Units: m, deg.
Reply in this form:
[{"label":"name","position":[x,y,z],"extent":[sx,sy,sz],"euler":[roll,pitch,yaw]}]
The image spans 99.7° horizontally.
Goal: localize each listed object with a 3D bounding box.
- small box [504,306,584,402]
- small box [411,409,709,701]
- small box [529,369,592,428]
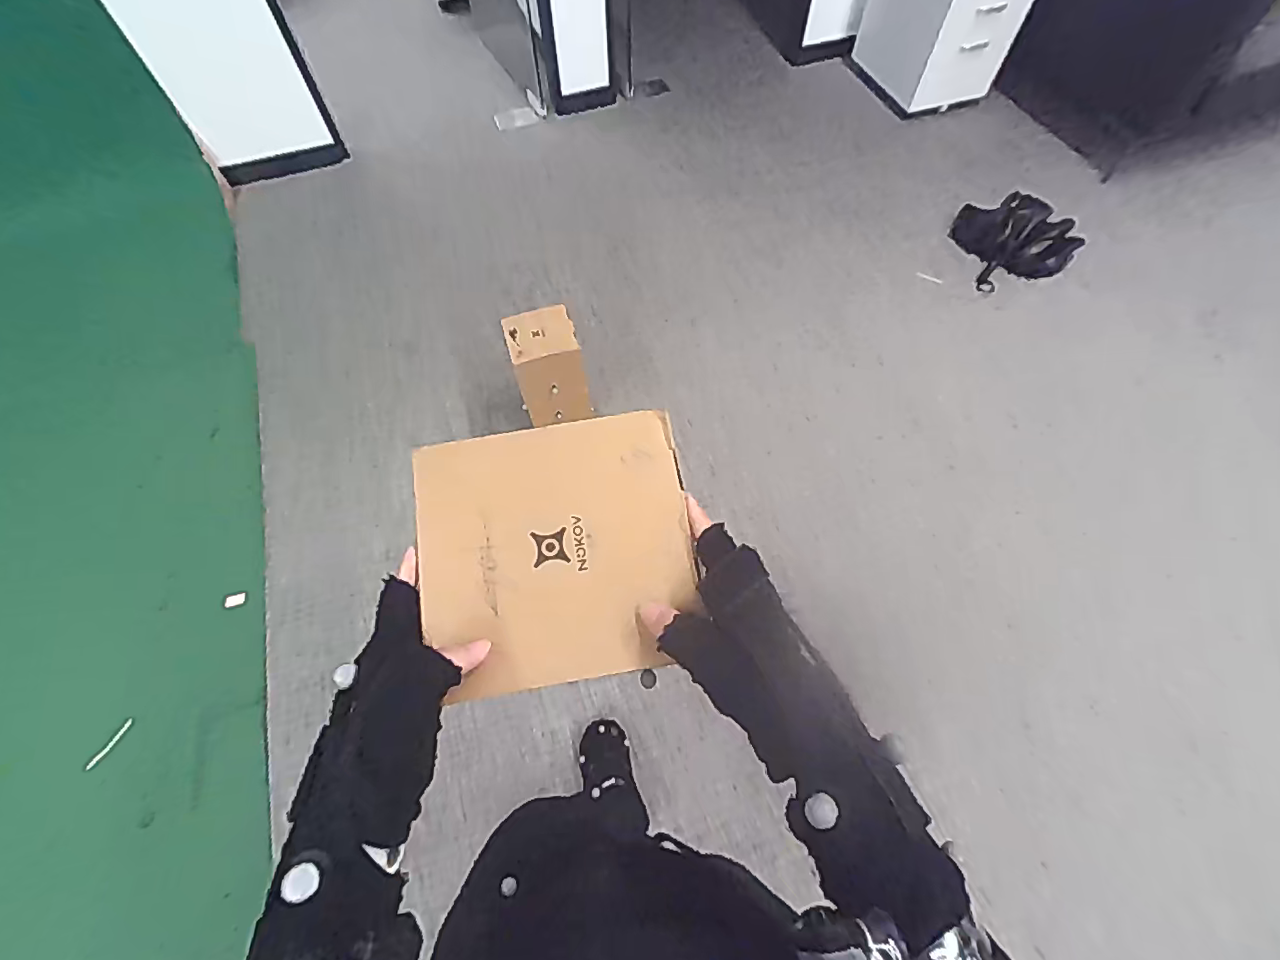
[{"label":"small box","position":[-0.254,-0.338,1.468],"extent":[0.179,0.176,0.168],"euler":[-15,63,-7]},{"label":"small box","position":[-0.056,0.064,0.425],"extent":[0.179,0.176,0.168],"euler":[-11,73,-2]},{"label":"small box","position":[-0.245,-0.257,1.611],"extent":[0.179,0.176,0.168],"euler":[-18,63,-9]}]
